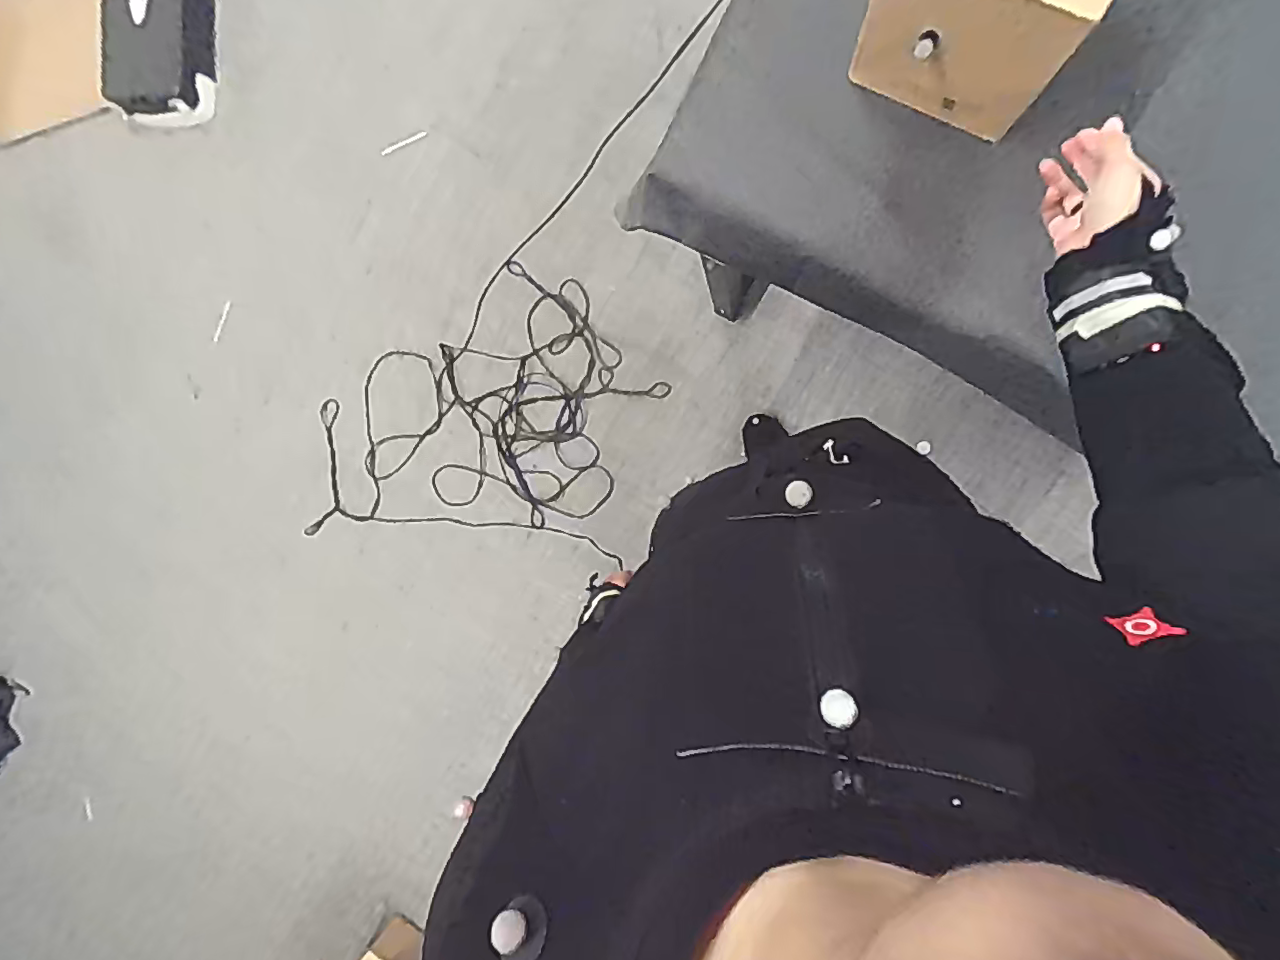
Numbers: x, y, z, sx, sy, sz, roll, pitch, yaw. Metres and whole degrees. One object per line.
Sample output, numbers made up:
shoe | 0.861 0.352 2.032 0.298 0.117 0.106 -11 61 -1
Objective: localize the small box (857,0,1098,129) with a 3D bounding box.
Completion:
small box | 0.307 -0.449 0.461 0.168 0.176 0.179 29 97 8
